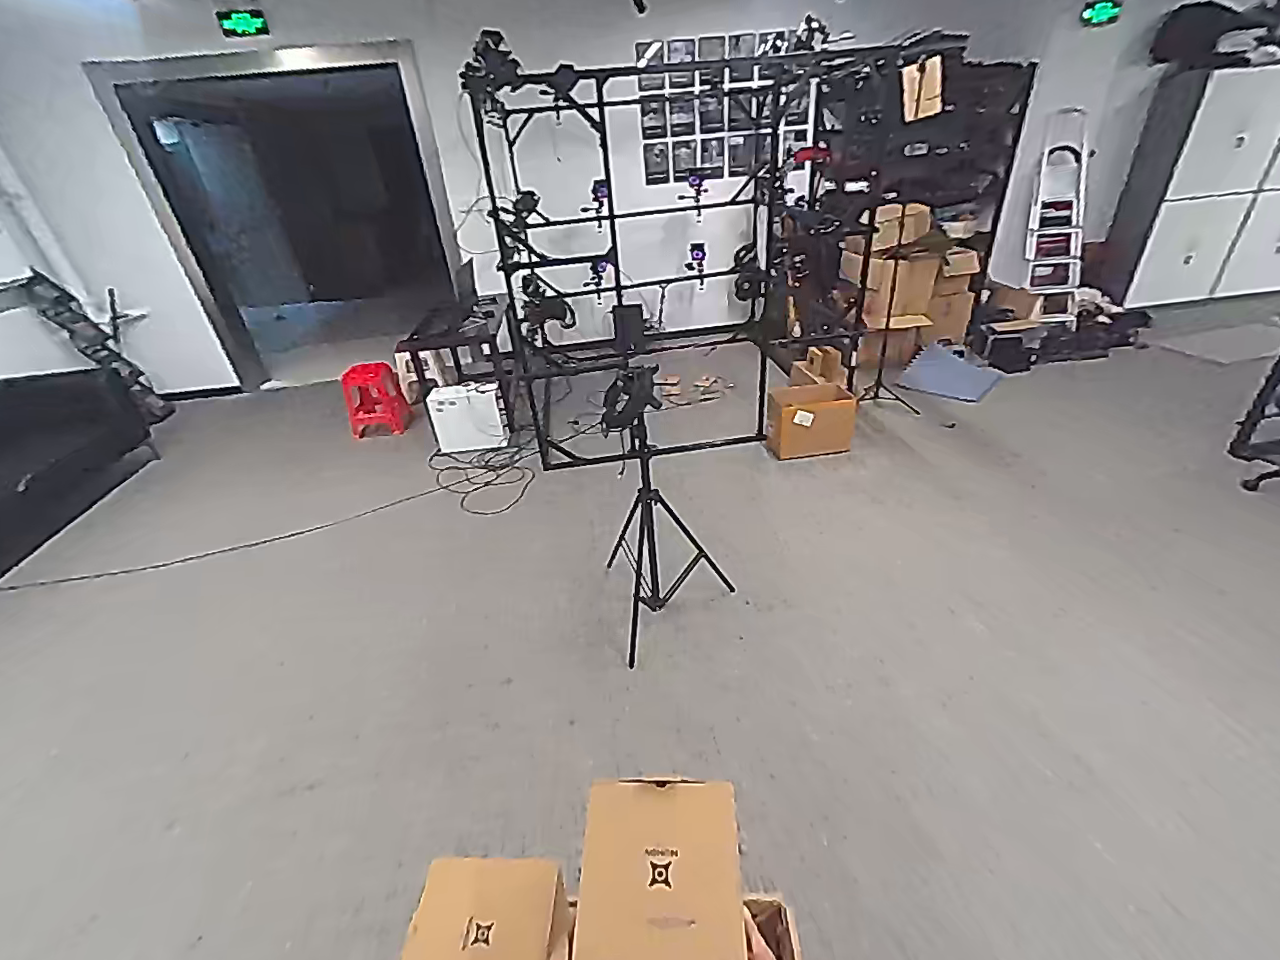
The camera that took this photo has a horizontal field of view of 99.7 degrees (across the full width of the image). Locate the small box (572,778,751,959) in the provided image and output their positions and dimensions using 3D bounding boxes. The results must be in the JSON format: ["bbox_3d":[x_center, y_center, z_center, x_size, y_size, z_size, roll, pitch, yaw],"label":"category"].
[{"bbox_3d":[0.029,0.459,0.597,0.168,0.176,0.179,-2,38,5],"label":"small box"}]

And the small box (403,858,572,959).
[{"bbox_3d":[-0.186,0.613,0.686,0.179,0.176,0.168,-2,30,3],"label":"small box"}]
